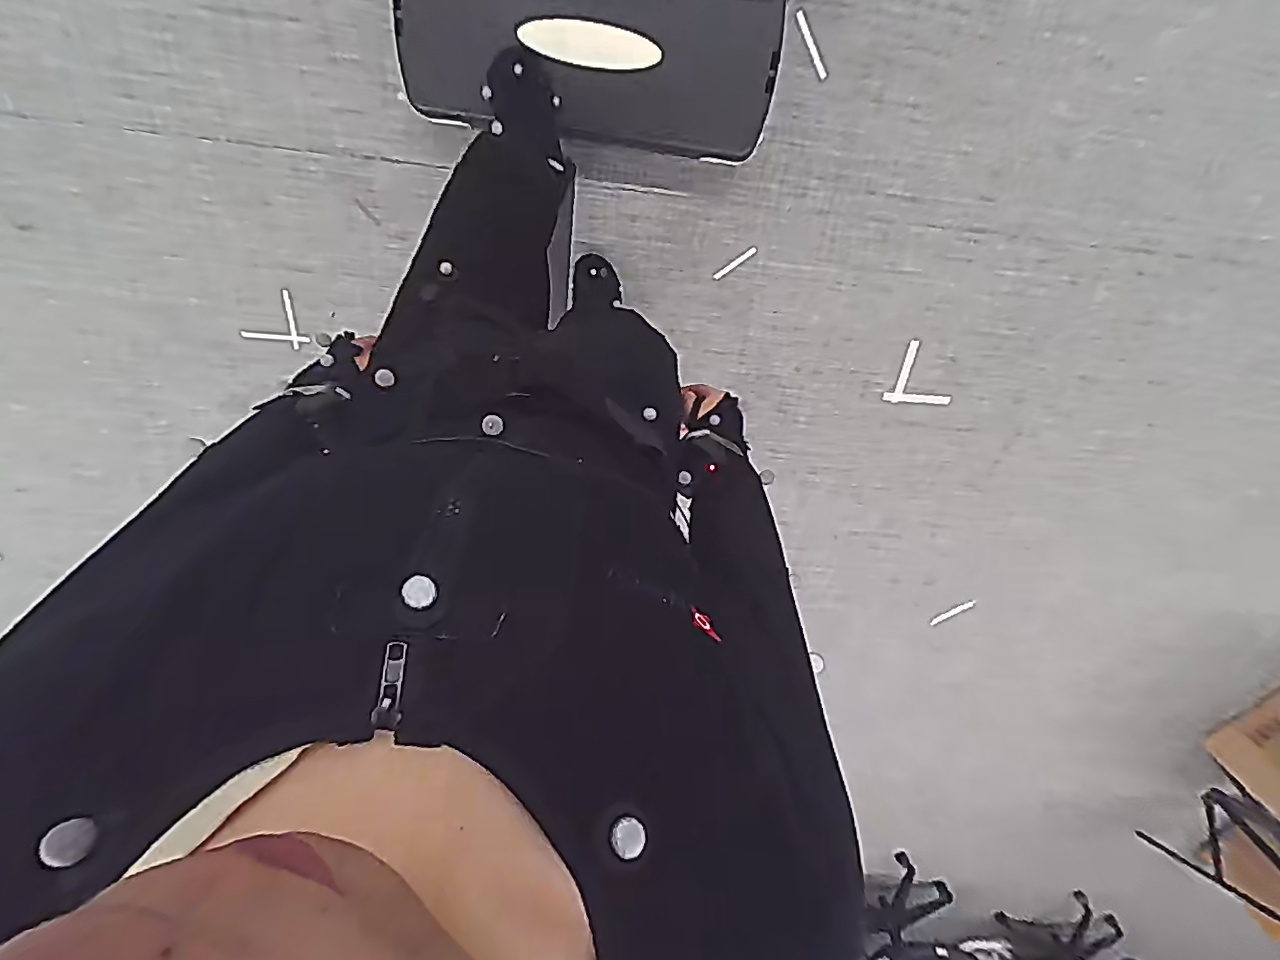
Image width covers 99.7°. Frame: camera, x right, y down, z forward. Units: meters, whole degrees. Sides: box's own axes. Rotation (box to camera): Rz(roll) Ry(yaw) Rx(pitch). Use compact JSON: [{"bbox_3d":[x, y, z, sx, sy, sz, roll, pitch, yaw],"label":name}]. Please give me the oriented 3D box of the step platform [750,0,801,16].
[{"bbox_3d":[-0.018,-0.972,0.815,0.684,0.204,0.286,9,118,-7],"label":"step platform"}]
